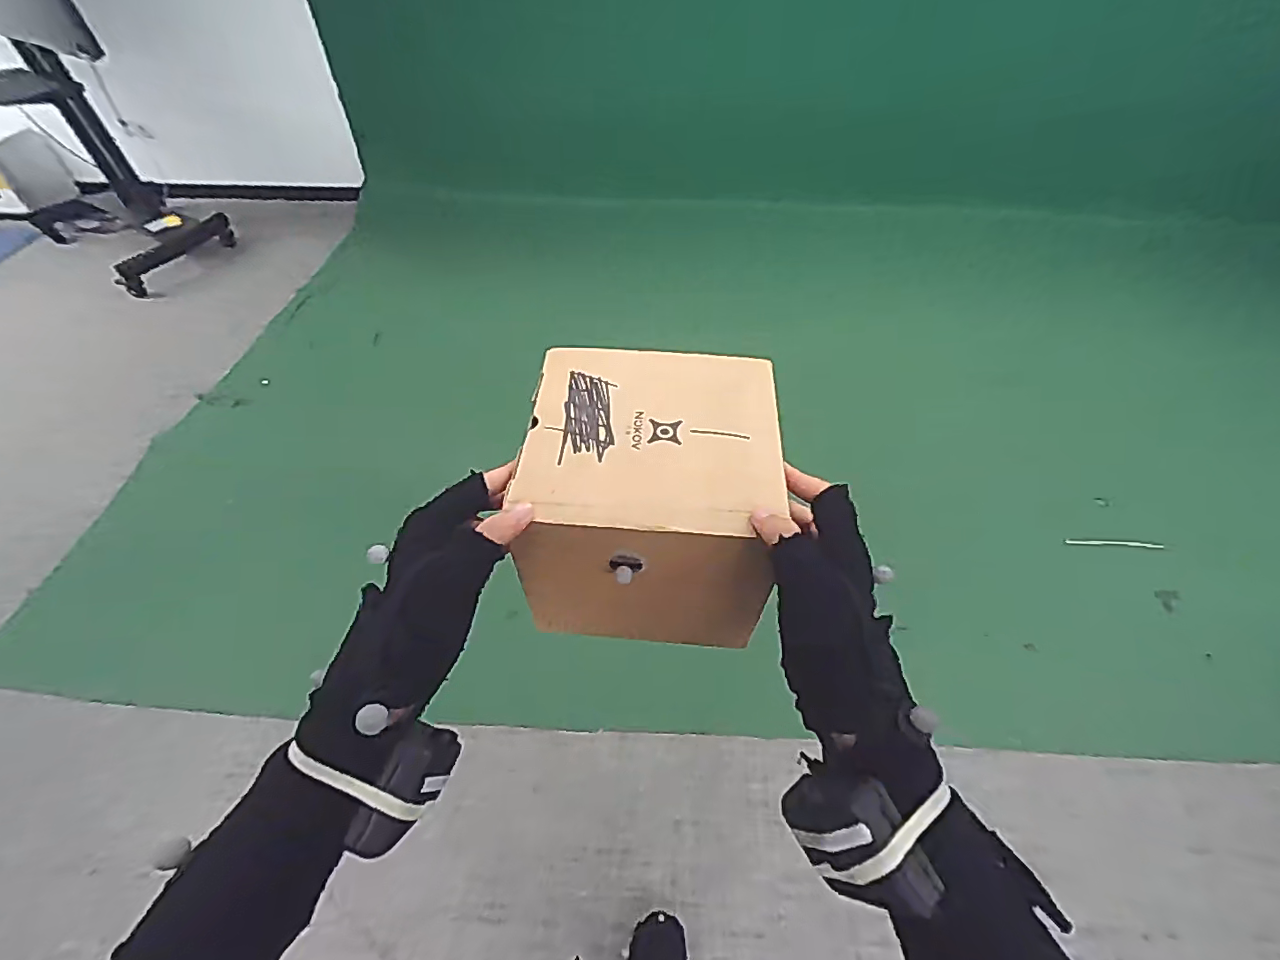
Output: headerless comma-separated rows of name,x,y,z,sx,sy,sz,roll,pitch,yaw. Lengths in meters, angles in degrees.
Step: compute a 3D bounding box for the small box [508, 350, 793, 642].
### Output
small box,0.011,0.017,0.435,0.179,0.176,0.168,4,52,2
